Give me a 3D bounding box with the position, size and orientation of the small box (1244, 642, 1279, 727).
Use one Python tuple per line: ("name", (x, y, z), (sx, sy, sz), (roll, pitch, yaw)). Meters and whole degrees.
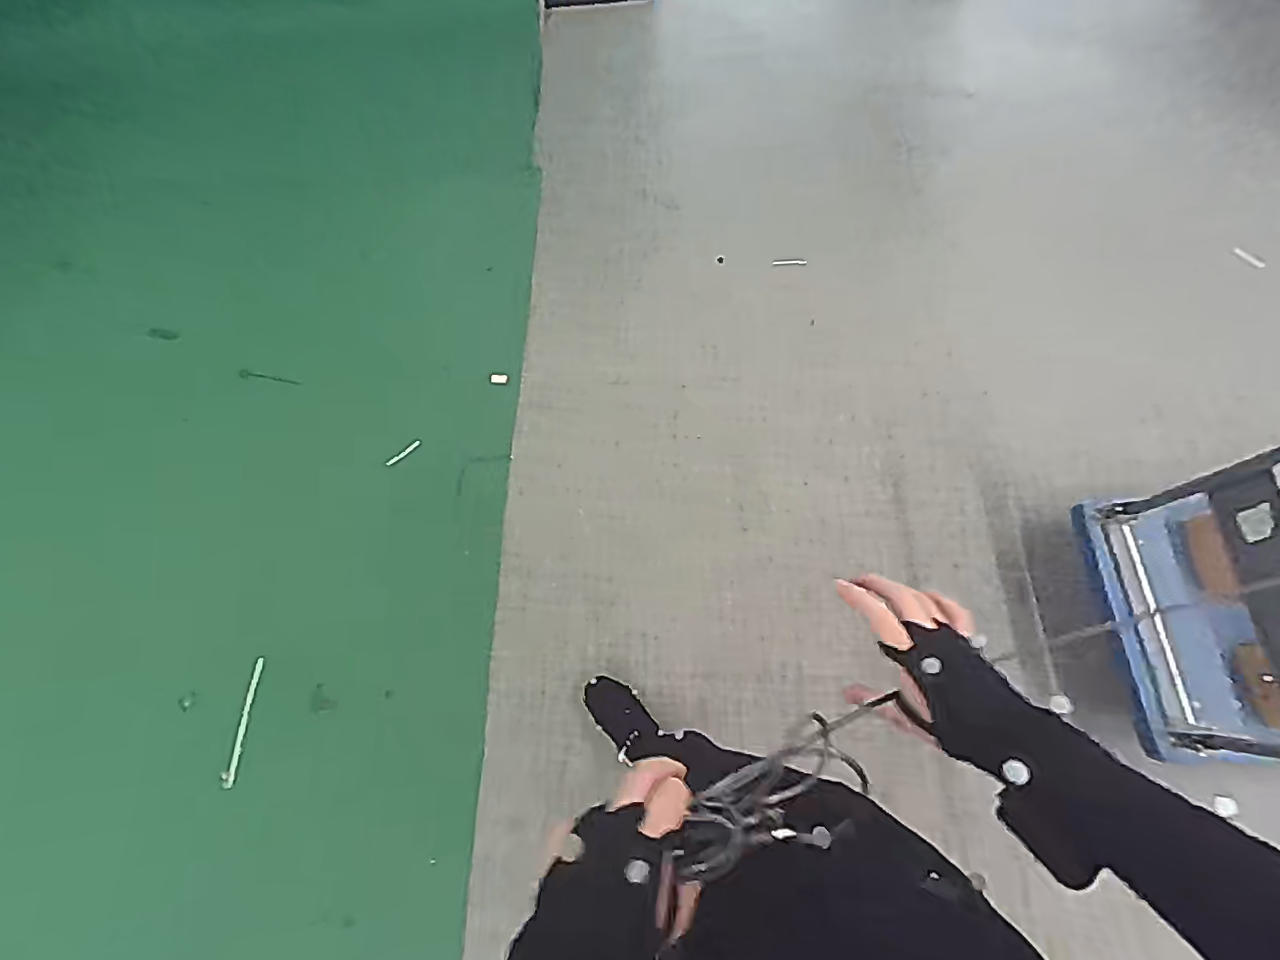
("small box", (1.375, 0.403, 1.055), (0.179, 0.176, 0.168), (-2, 70, 5))
